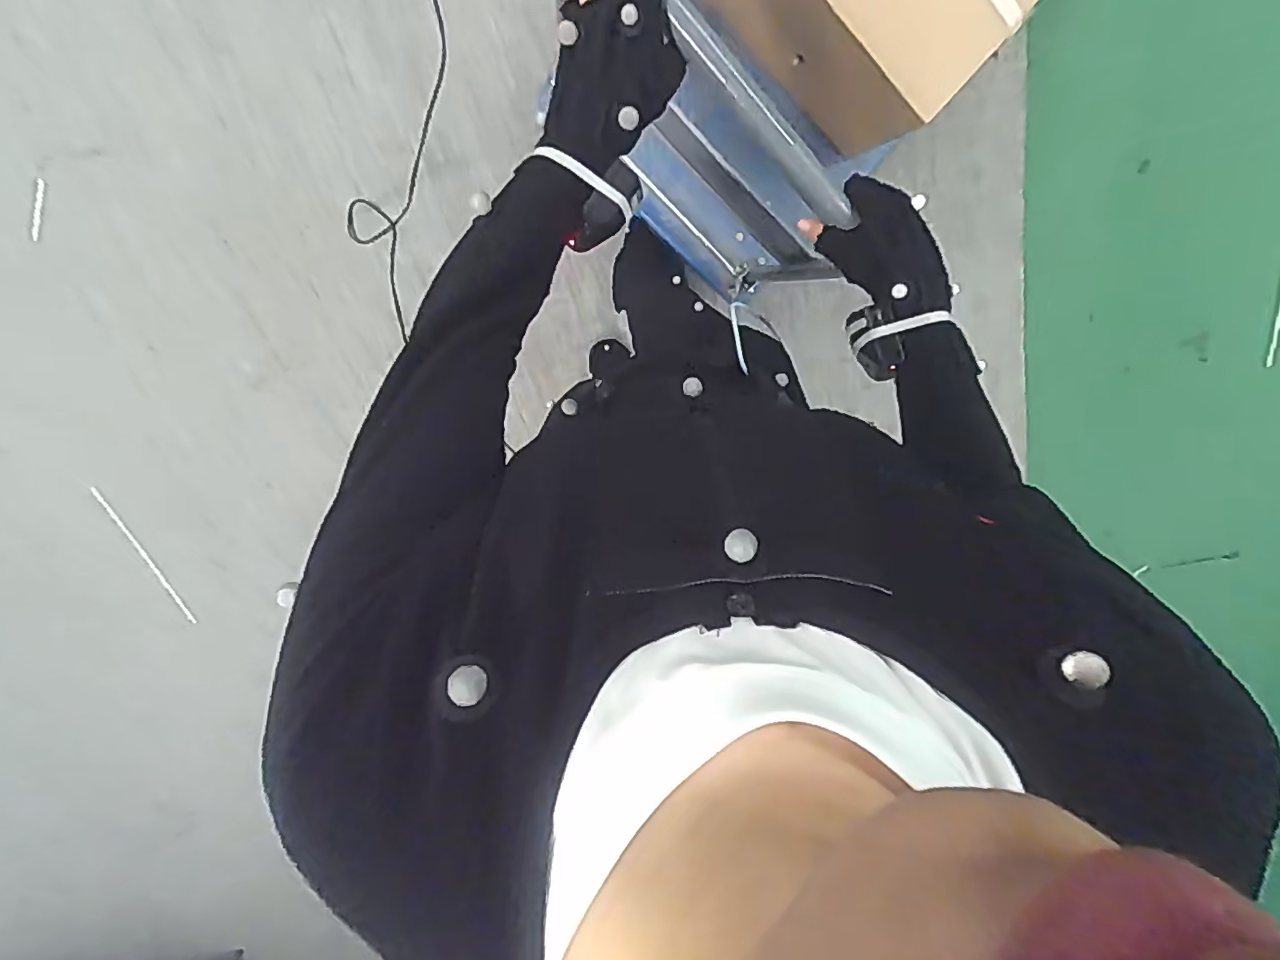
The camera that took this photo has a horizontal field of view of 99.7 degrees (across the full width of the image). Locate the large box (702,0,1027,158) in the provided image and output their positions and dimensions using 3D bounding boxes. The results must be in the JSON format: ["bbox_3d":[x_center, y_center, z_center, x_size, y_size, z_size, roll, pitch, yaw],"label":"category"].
[{"bbox_3d":[0.360,-0.810,0.861,0.408,0.320,0.320,38,105,-15],"label":"large box"}]
